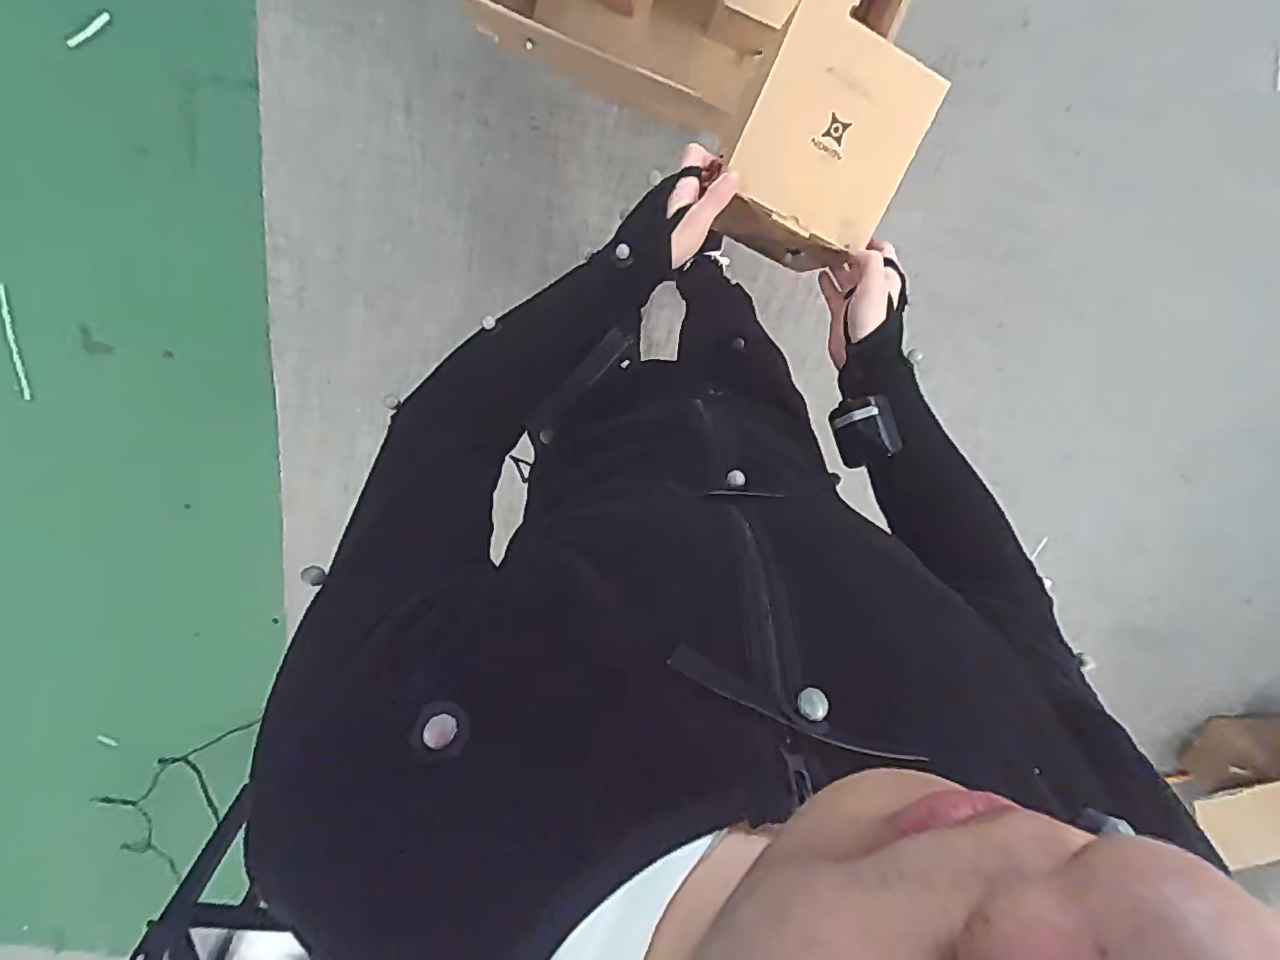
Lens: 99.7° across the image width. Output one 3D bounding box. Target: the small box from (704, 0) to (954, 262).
[{"bbox_3d":[0.183,-0.358,0.589,0.168,0.176,0.179,22,103,-12],"label":"small box"}]
